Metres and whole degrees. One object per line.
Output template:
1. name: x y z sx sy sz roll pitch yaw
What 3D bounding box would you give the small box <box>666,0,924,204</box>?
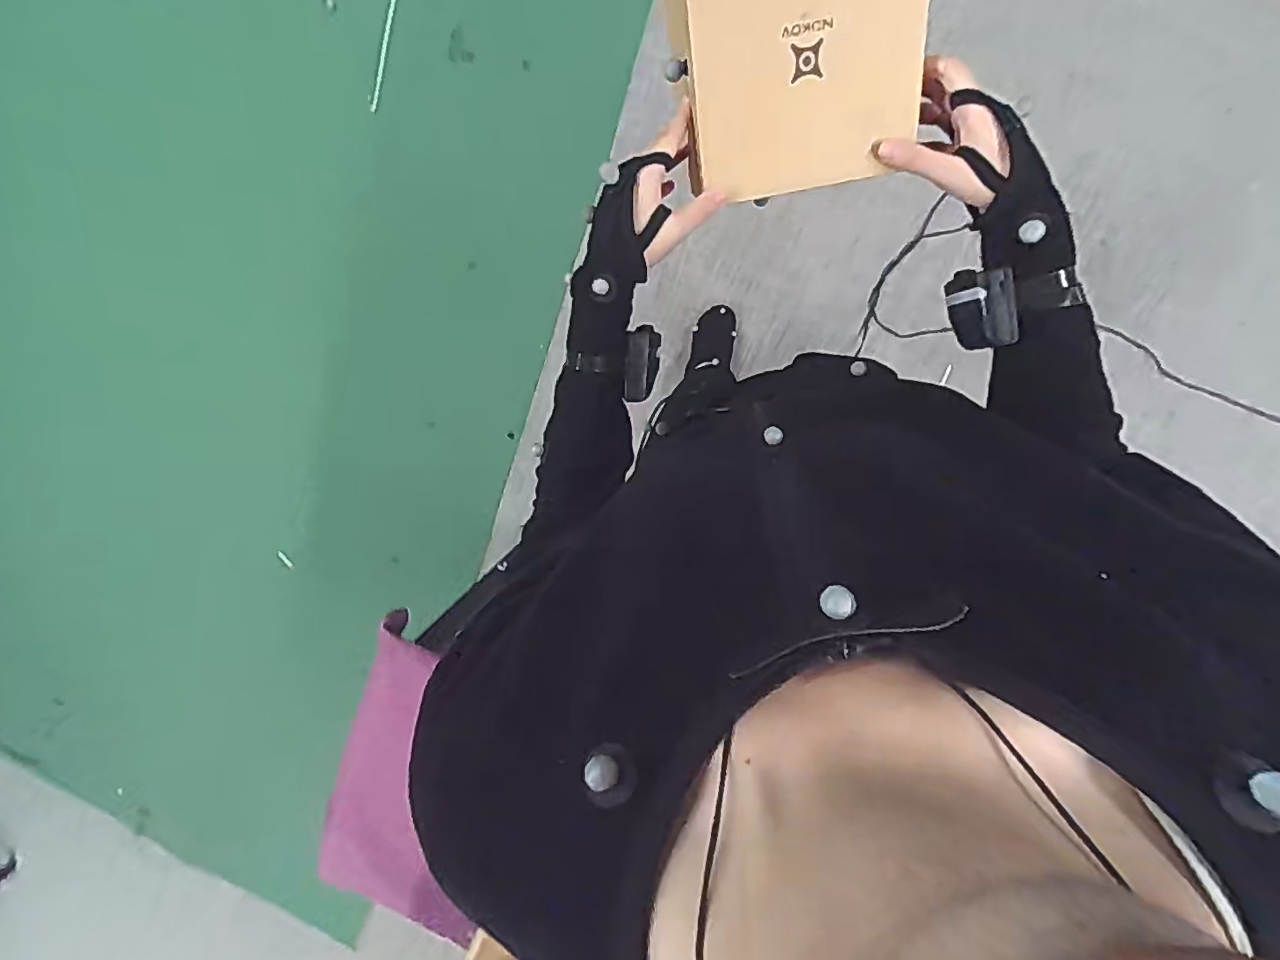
1. small box: 0.114 -0.344 0.447 0.168 0.176 0.179 -8 121 4
